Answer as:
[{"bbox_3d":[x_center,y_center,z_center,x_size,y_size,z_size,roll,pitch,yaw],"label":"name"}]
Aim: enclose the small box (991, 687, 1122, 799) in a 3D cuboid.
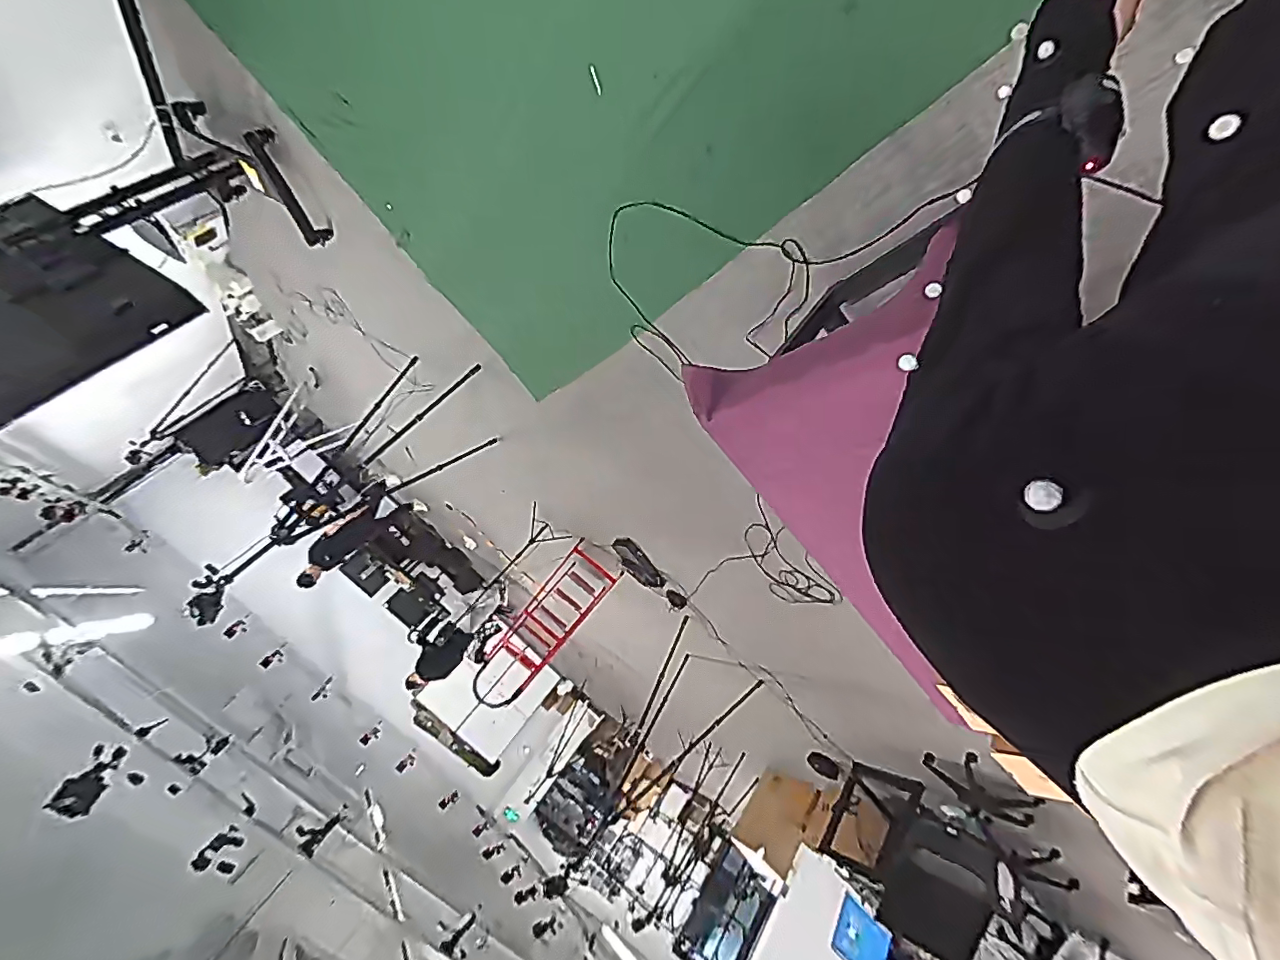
[{"bbox_3d":[0.982,0.601,1.274,0.168,0.176,0.179,45,152,-9],"label":"small box"}]
